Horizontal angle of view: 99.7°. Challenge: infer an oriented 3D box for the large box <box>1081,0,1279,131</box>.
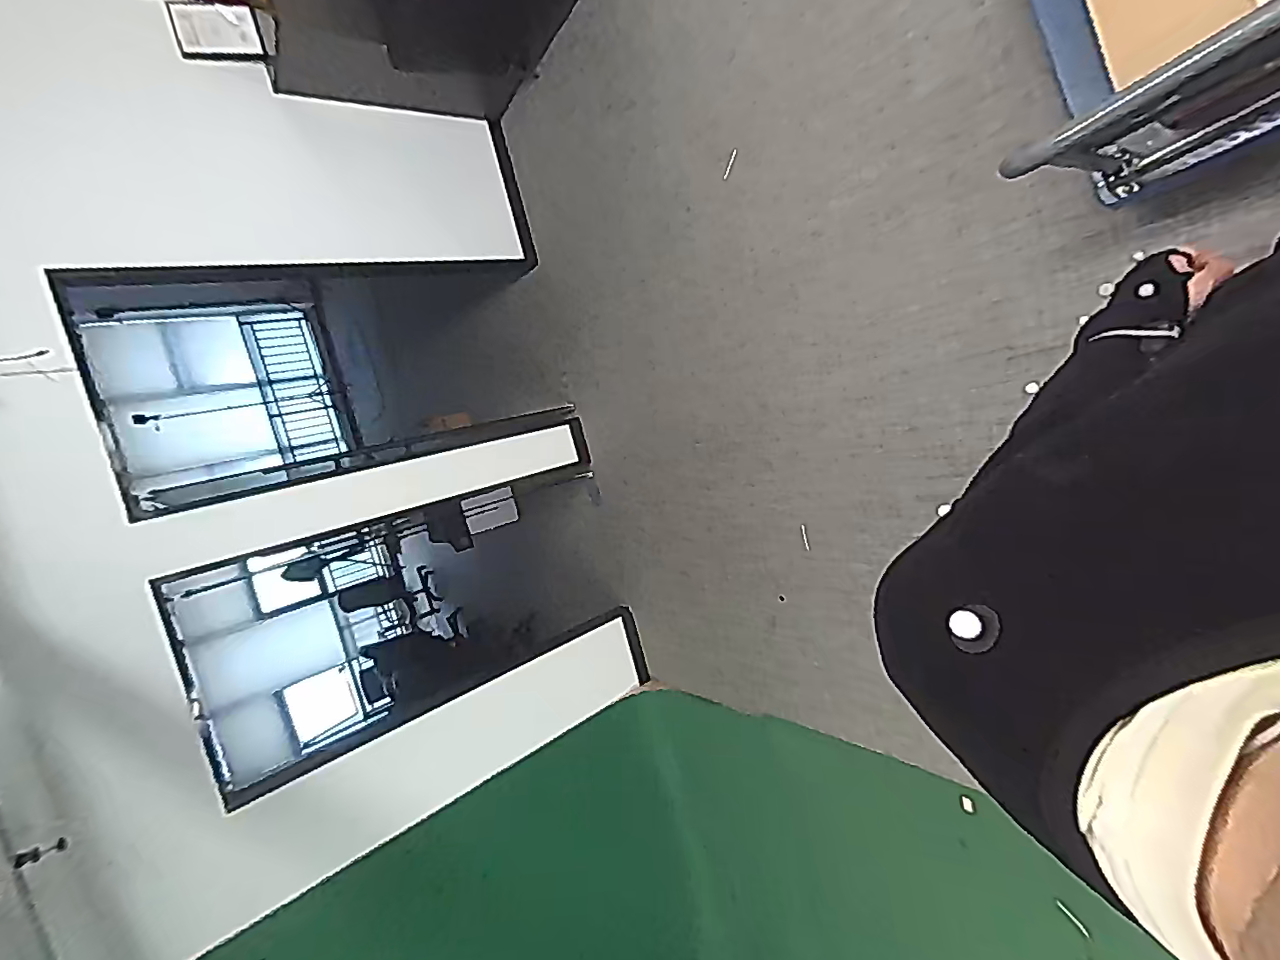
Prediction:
[{"bbox_3d":[0.876,-0.820,0.793,0.320,0.320,0.408,-18,88,54],"label":"large box"}]
